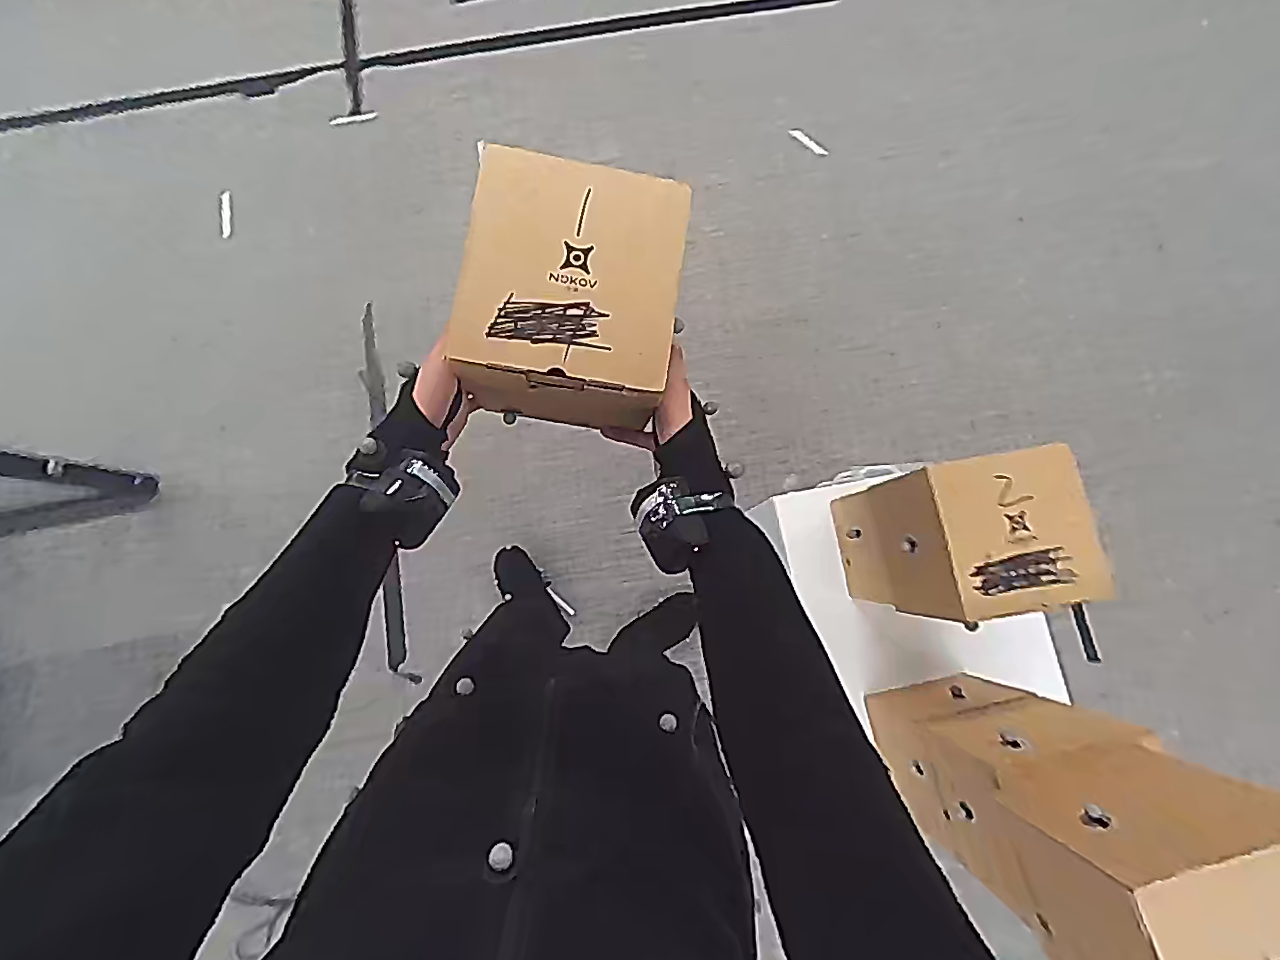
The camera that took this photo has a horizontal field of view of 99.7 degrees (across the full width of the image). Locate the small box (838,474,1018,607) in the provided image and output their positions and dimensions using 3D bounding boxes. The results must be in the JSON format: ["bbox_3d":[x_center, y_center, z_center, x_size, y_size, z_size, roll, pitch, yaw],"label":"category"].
[{"bbox_3d":[0.419,0.096,0.825,0.179,0.176,0.168,-9,81,-2],"label":"small box"}]

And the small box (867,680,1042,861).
[{"bbox_3d":[0.459,0.398,0.773,0.179,0.176,0.168,-12,79,-2],"label":"small box"}]

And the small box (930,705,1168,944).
[{"bbox_3d":[0.458,0.370,0.610,0.179,0.176,0.168,-11,80,-2],"label":"small box"}]

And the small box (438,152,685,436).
[{"bbox_3d":[-0.063,-0.144,0.485,0.168,0.176,0.179,8,83,-5],"label":"small box"}]

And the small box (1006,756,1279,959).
[{"bbox_3d":[0.448,0.359,0.448,0.179,0.176,0.168,-16,81,-3],"label":"small box"}]
